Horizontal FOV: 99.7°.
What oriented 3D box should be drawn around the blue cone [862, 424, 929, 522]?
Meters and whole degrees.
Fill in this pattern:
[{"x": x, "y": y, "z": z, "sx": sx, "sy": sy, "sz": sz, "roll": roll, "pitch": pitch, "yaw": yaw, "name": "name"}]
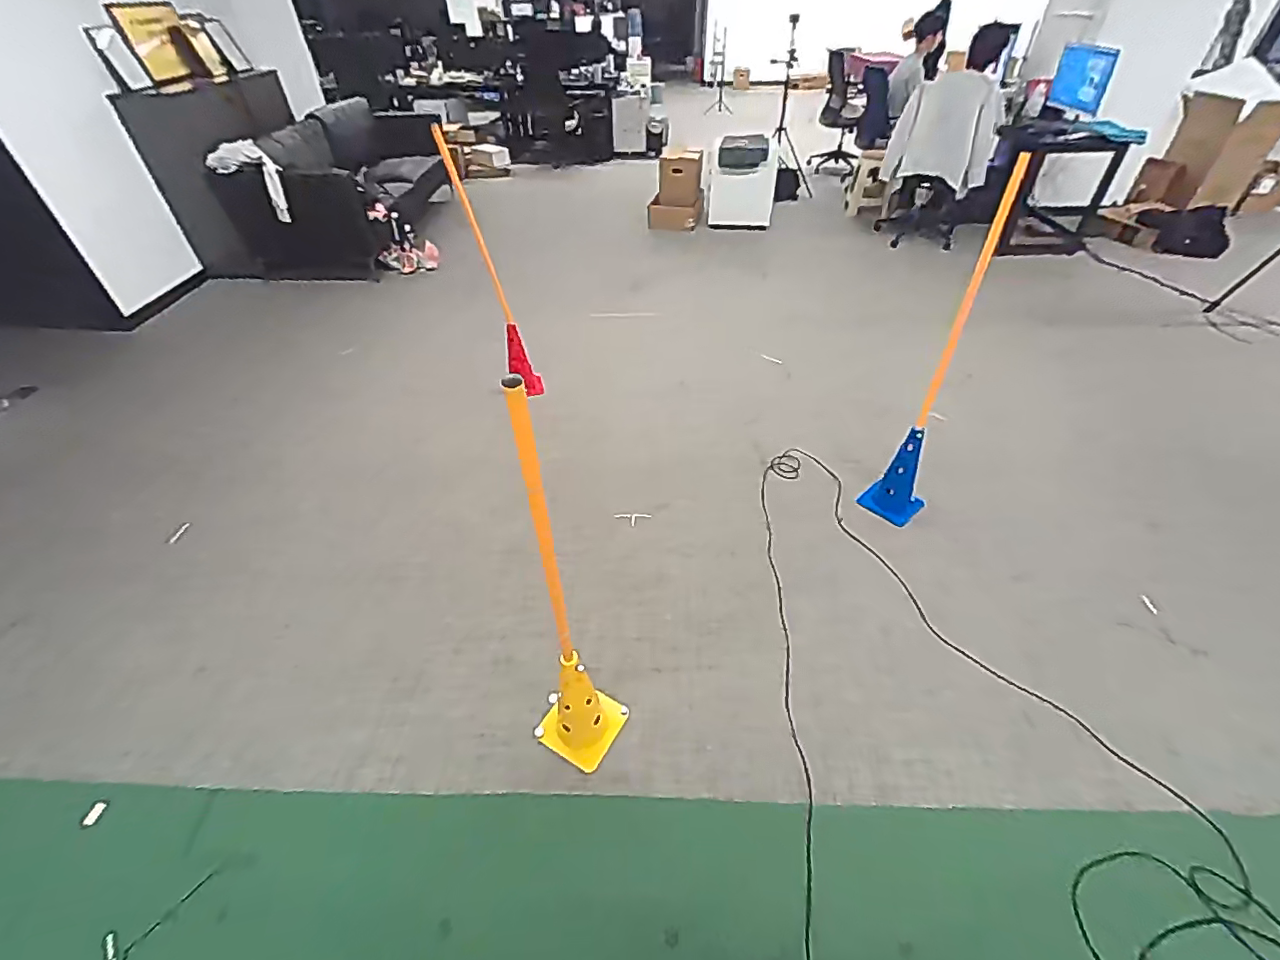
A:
[{"x": 0.989, "y": -0.047, "z": 2.022, "sx": 0.193, "sy": 0.380, "sz": 0.192, "roll": -31, "pitch": 49, "yaw": -32, "name": "blue cone"}]
